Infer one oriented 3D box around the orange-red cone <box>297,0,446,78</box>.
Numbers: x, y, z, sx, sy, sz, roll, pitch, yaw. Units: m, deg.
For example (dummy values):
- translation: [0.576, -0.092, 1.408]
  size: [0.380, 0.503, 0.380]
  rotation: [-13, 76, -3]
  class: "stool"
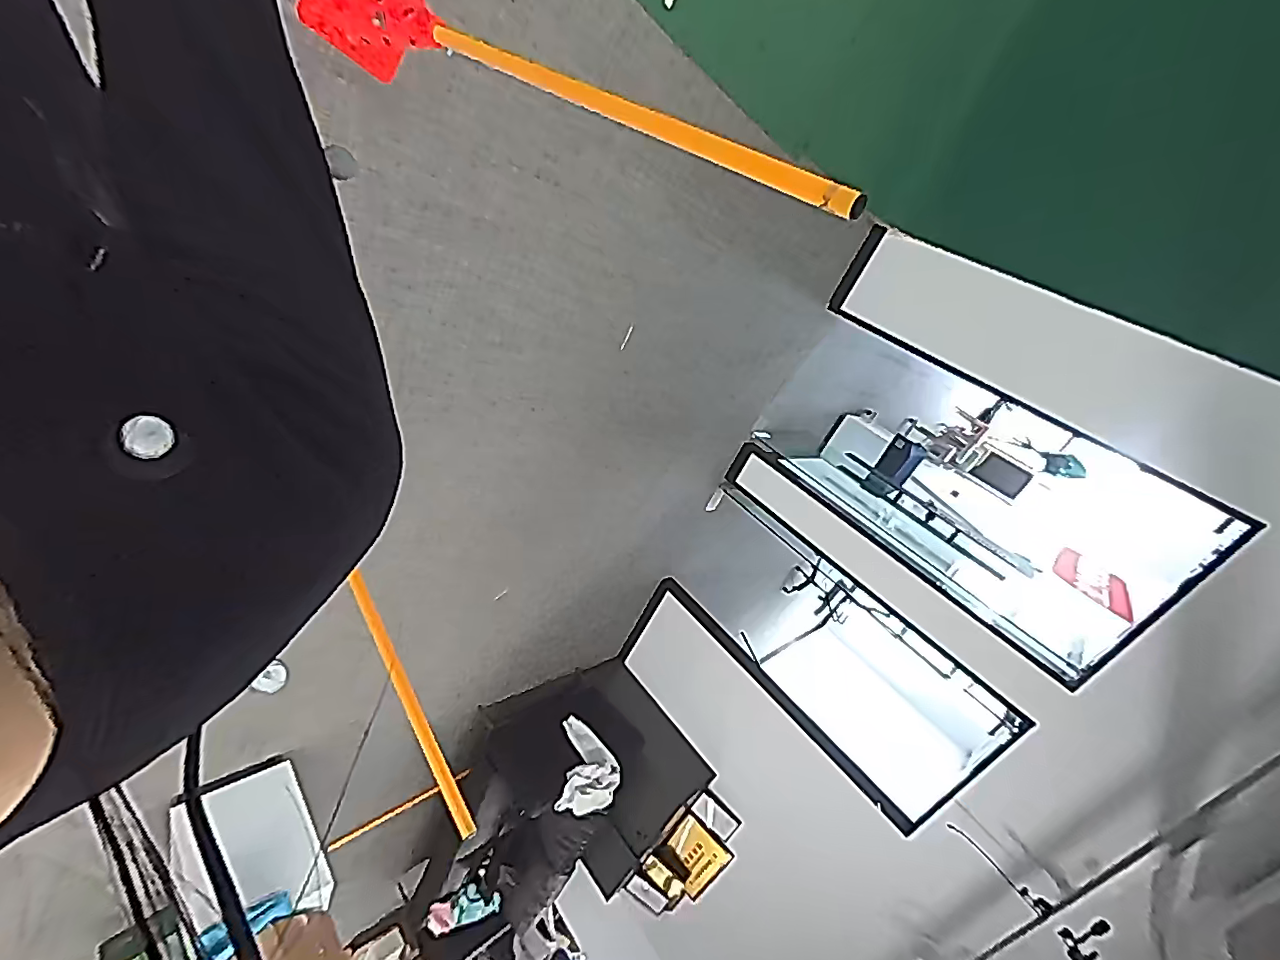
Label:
- translation: [-0.456, -0.870, 1.011]
  size: [0.199, 0.360, 0.198]
  rotation: [-55, 148, 14]
  class: "orange-red cone"
